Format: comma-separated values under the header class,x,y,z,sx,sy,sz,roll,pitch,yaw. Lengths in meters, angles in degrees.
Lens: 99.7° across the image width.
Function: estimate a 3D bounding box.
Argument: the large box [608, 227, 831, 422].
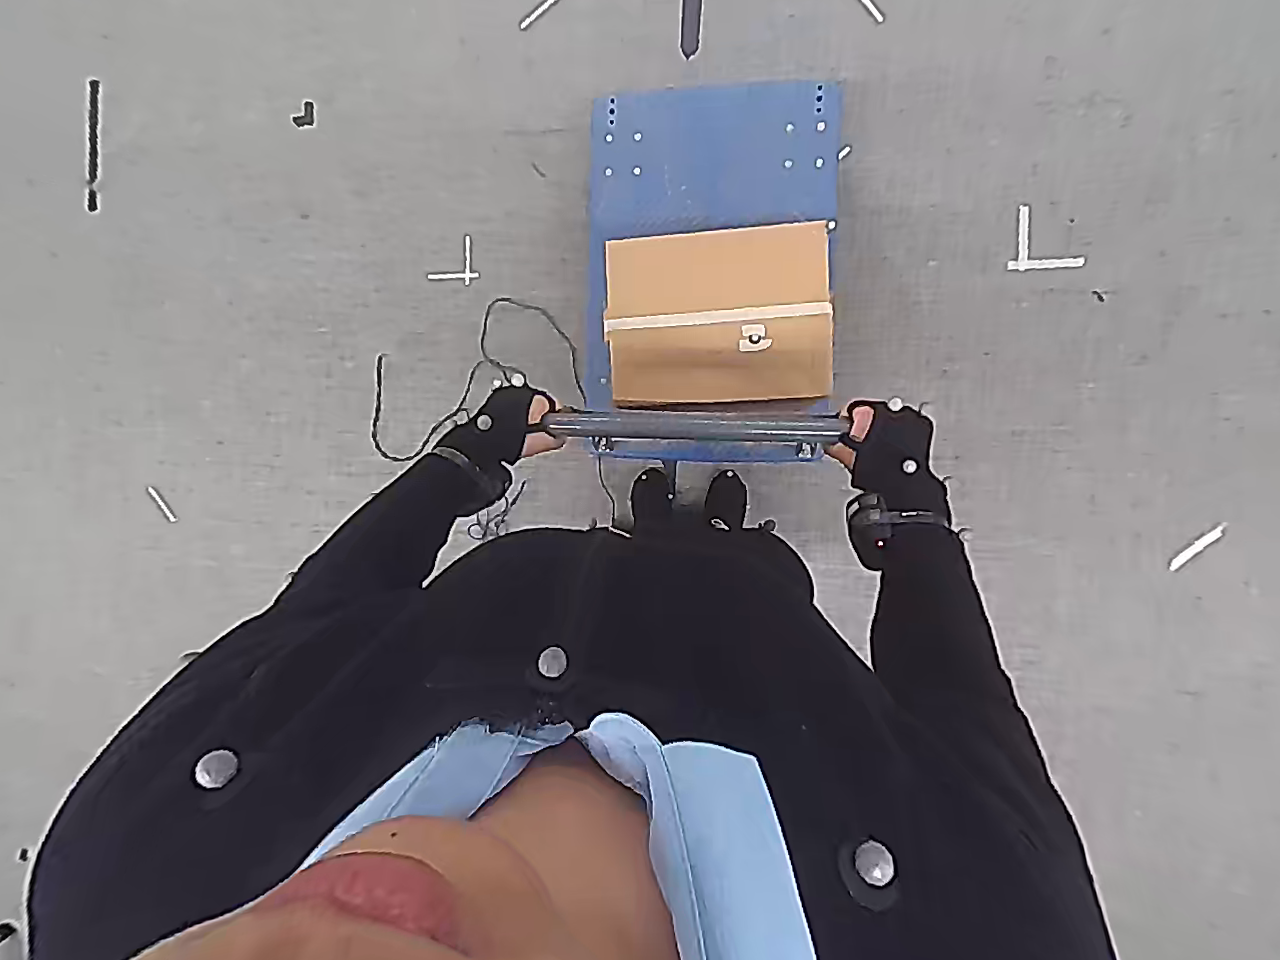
class,x,y,z,sx,sy,sz,roll,pitch,yaw
large box,0.158,-0.299,1.149,0.408,0.320,0.320,-2,93,6
